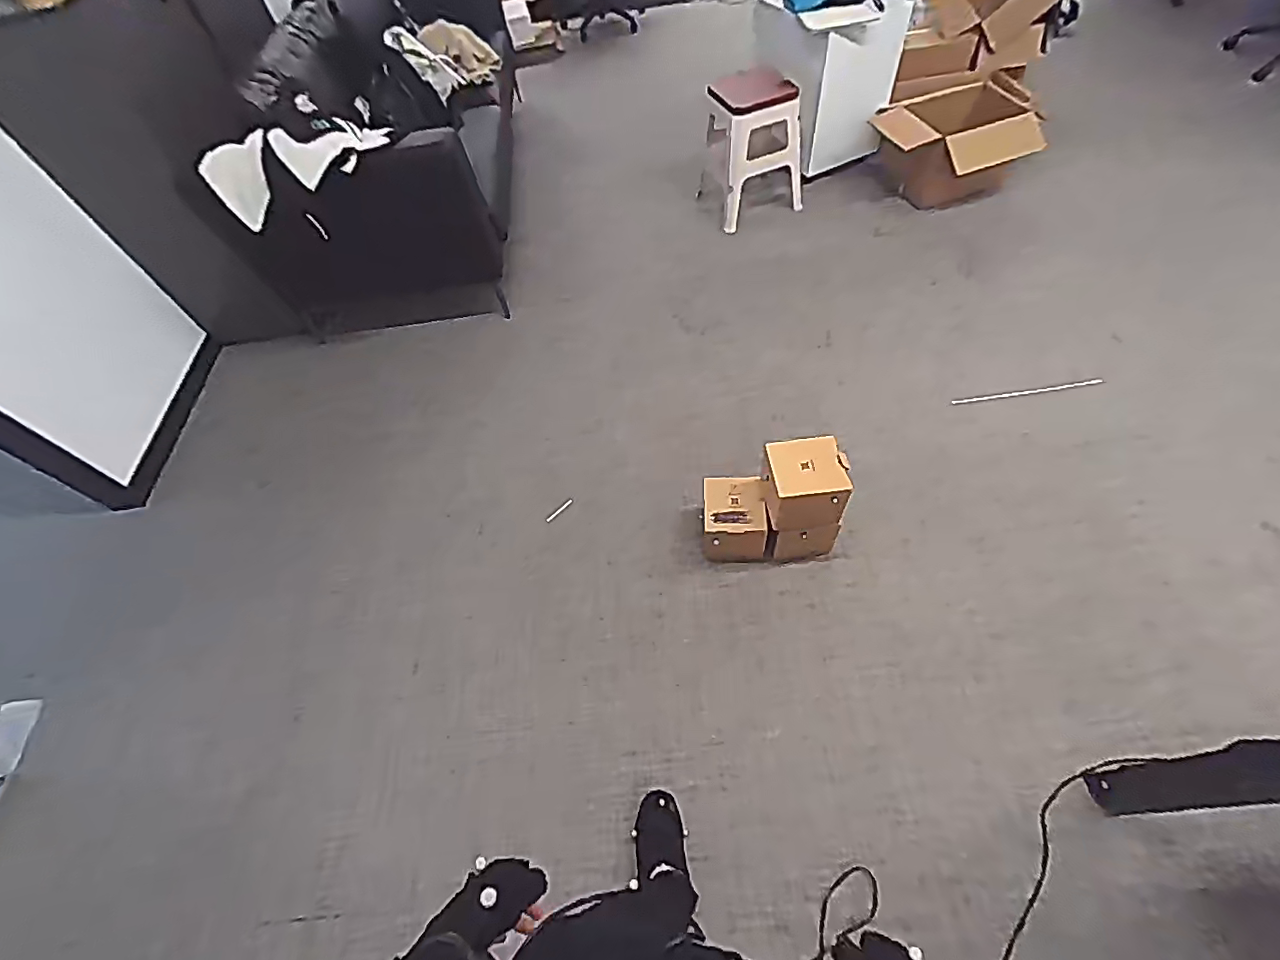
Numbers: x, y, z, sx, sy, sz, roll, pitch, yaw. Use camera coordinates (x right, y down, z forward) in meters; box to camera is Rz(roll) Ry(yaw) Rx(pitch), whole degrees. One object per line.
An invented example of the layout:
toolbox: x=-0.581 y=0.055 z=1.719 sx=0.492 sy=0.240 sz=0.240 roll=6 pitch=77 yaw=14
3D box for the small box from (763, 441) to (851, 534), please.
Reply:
small box: x=0.416 y=0.025 z=1.386 sx=0.179 sy=0.176 sz=0.168 roll=-7 pitch=55 yaw=2
